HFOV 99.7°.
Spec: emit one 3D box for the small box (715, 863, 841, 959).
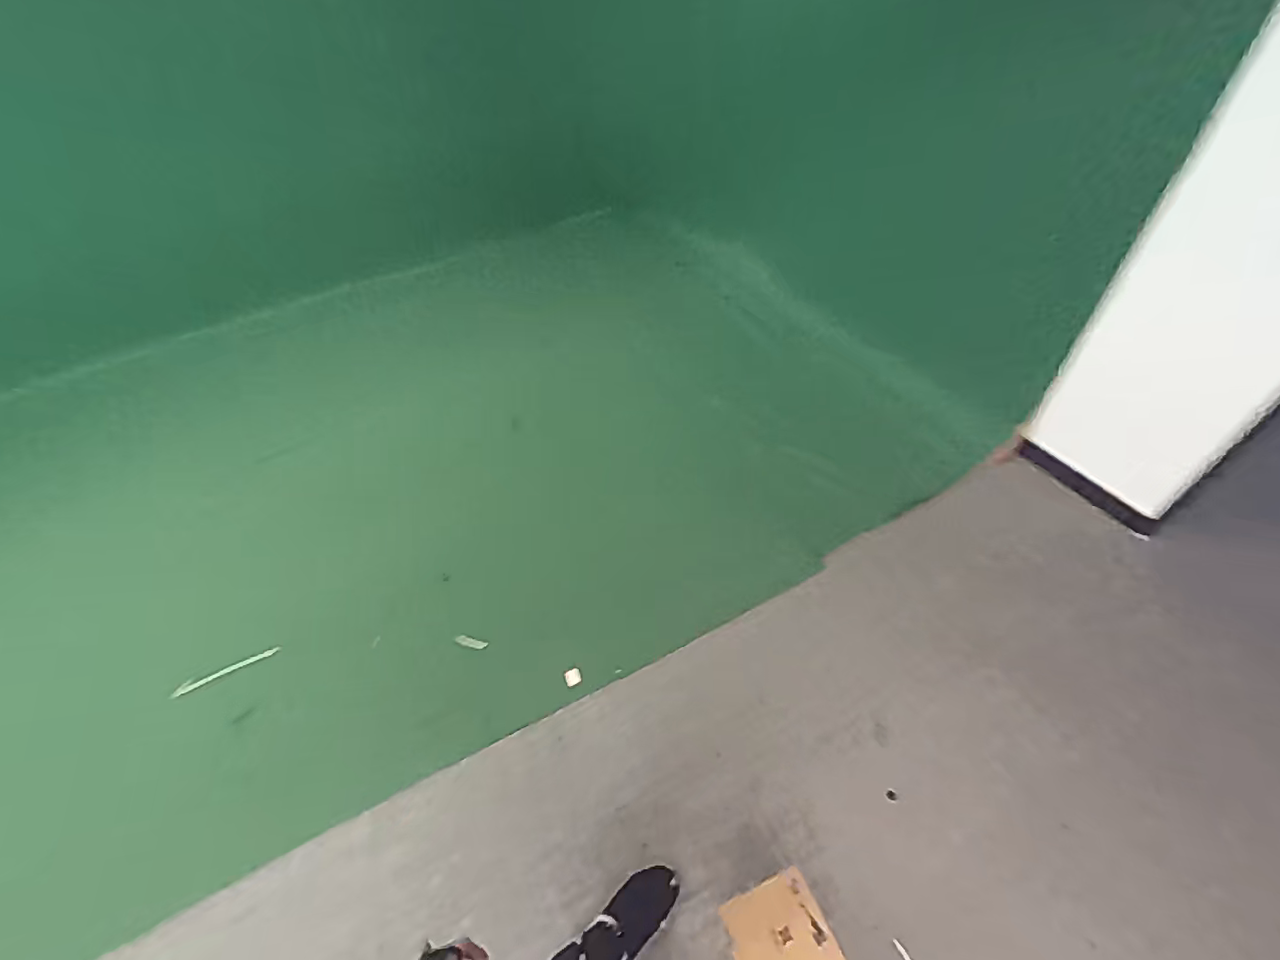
[{"bbox_3d":[0.260,0.877,1.041,0.179,0.176,0.168,-21,50,-8],"label":"small box"}]
